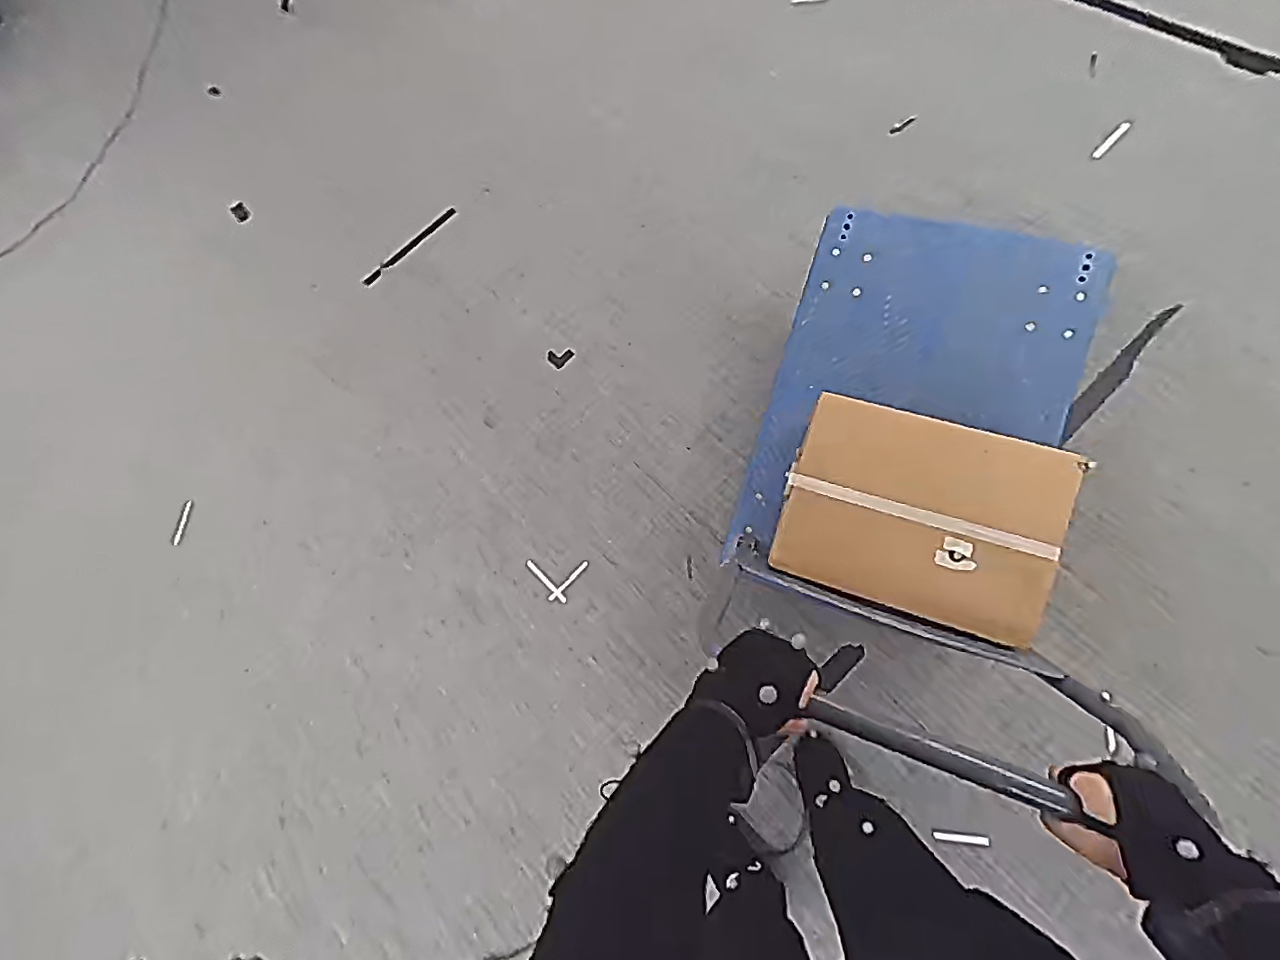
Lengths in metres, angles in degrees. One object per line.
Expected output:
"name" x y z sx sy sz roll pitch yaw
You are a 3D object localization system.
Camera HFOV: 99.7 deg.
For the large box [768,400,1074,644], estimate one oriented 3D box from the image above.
"large box" 0.481 0.069 1.030 0.408 0.320 0.320 17 91 14
